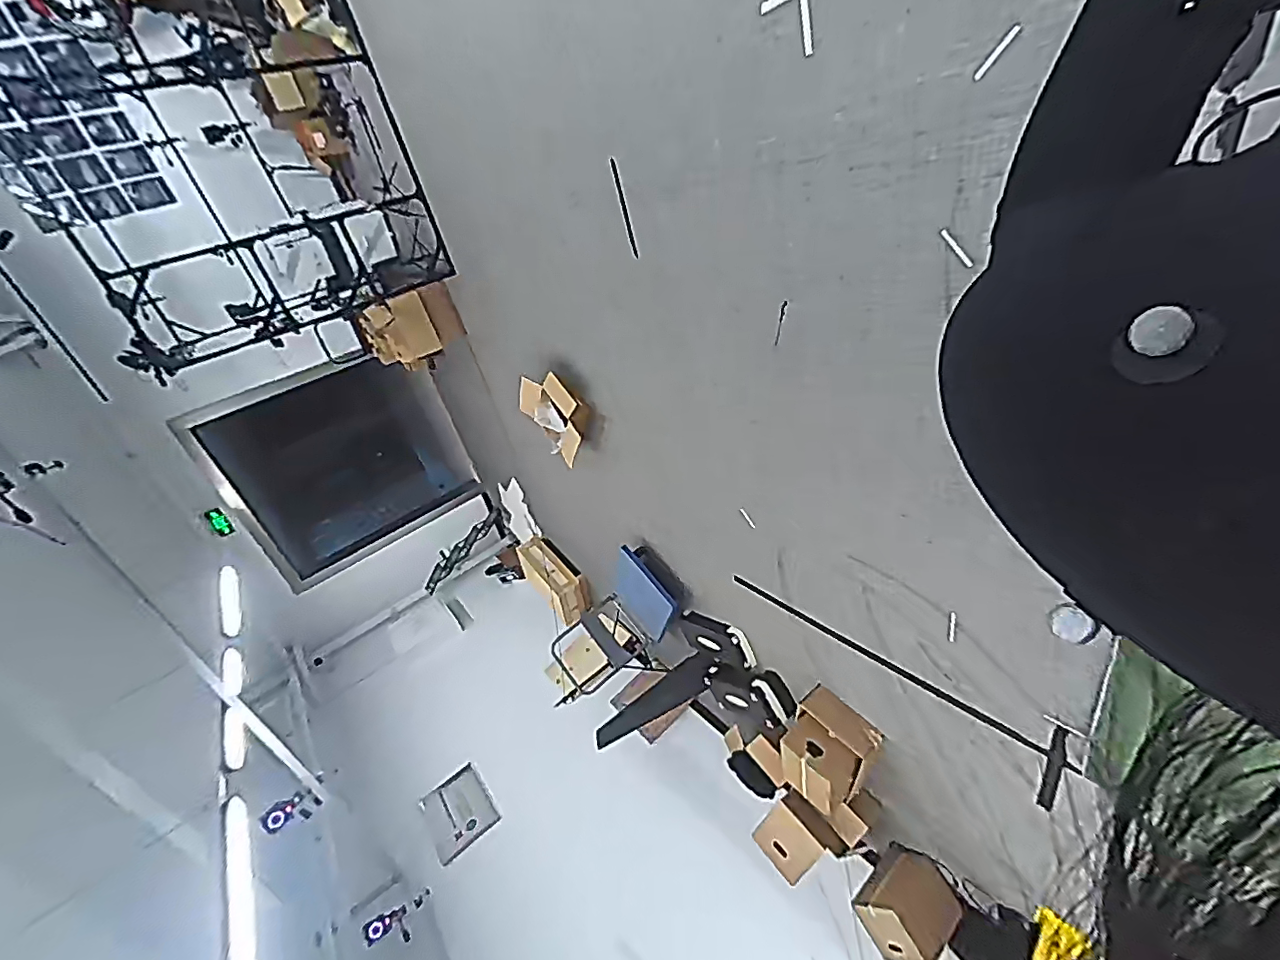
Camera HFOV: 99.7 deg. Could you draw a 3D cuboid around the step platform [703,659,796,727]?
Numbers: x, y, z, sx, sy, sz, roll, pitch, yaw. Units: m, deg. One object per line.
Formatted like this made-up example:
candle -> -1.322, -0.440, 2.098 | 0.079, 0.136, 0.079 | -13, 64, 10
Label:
step platform -> 0.695, 1.390, 3.550 | 0.286, 0.204, 0.684 | 60, 154, -3
